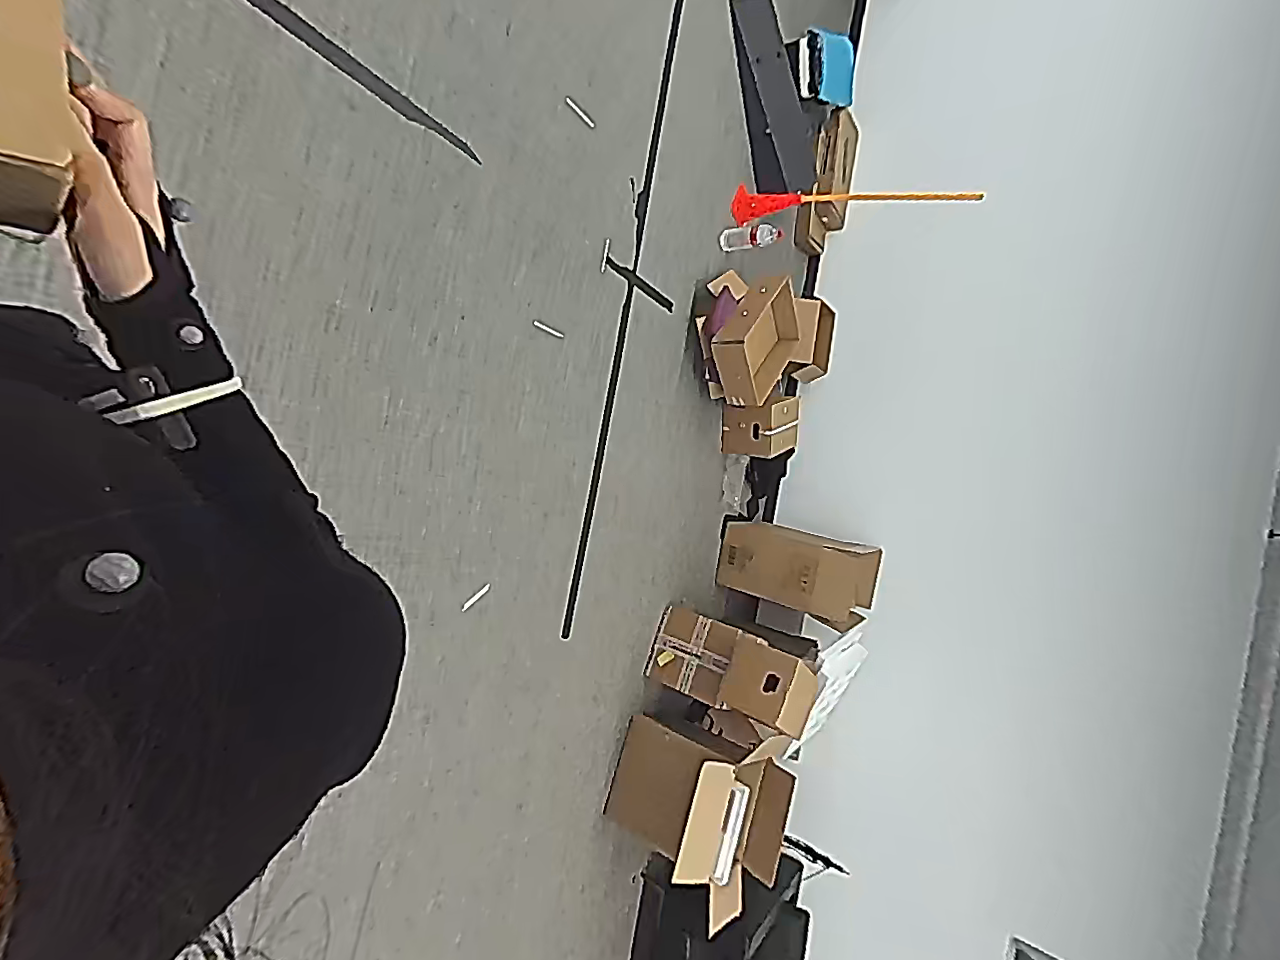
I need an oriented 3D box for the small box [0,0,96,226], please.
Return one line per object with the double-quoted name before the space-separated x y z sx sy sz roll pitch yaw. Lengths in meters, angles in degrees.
"small box" -0.362 -0.230 0.235 0.168 0.176 0.179 -5 102 -50
